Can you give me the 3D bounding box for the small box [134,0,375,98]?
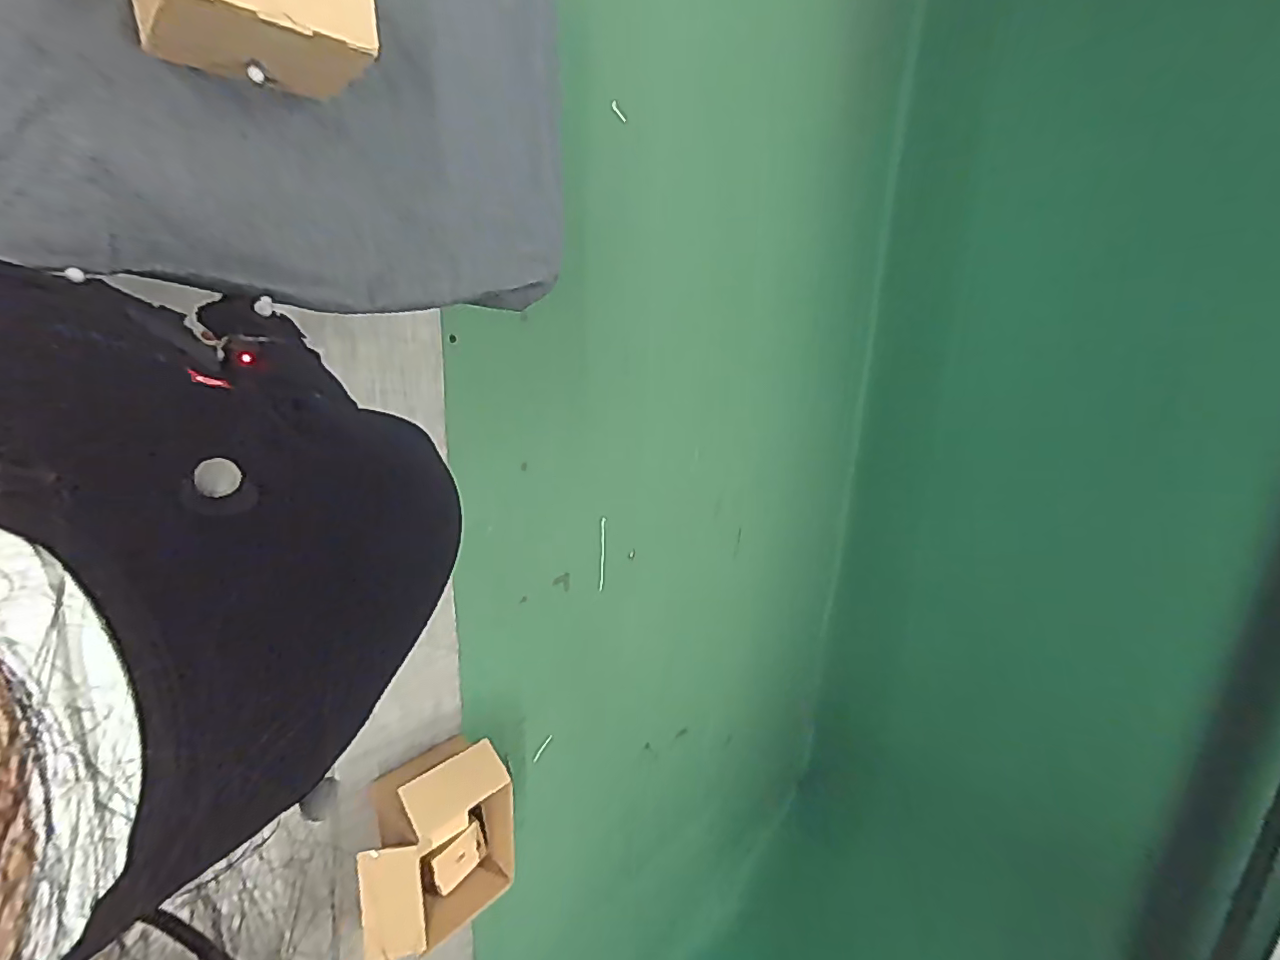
[{"bbox_3d":[-0.381,-0.509,0.519,0.168,0.176,0.179,-16,113,-43],"label":"small box"}]
